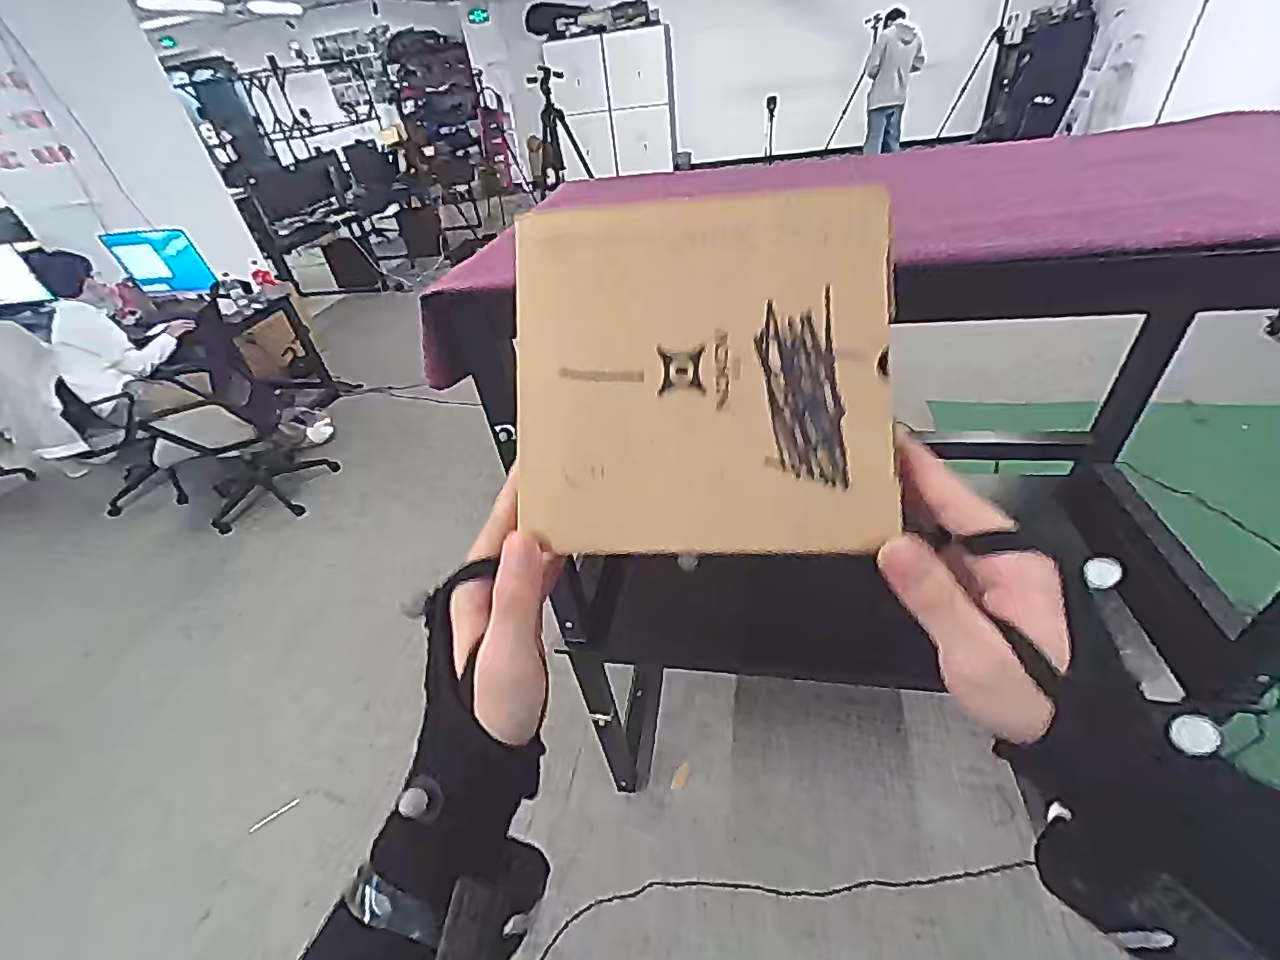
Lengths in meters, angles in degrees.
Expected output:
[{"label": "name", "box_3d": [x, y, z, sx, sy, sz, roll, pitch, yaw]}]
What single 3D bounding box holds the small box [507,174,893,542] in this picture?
[{"label": "small box", "box_3d": [0.032, -0.052, 0.326, 0.179, 0.168, 0.176, -2, -3, 6]}]
